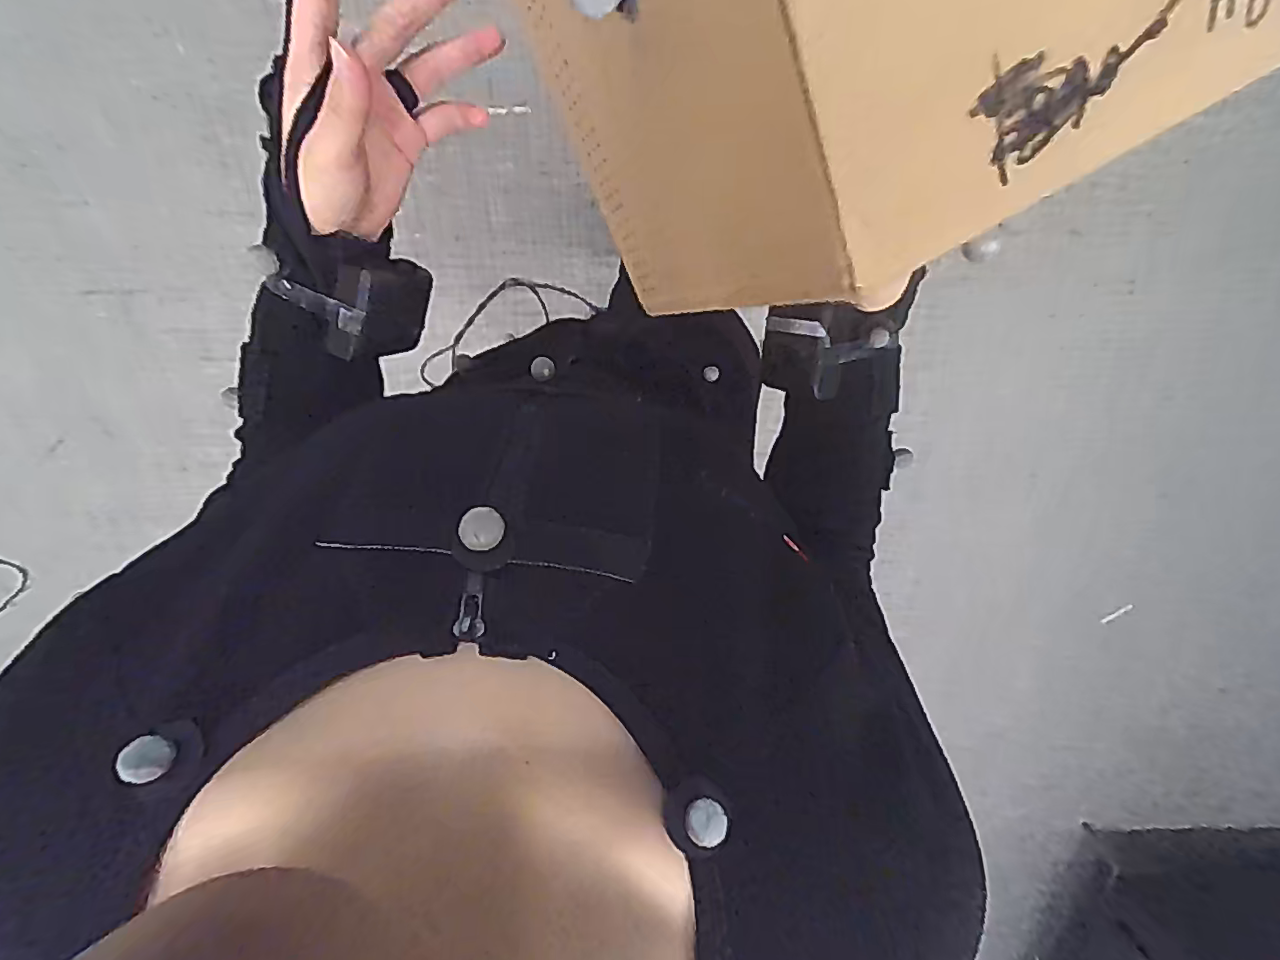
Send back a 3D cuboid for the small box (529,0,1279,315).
[{"bbox_3d":[0.070,-0.178,0.203,0.168,0.176,0.179,-30,111,-8],"label":"small box"}]
